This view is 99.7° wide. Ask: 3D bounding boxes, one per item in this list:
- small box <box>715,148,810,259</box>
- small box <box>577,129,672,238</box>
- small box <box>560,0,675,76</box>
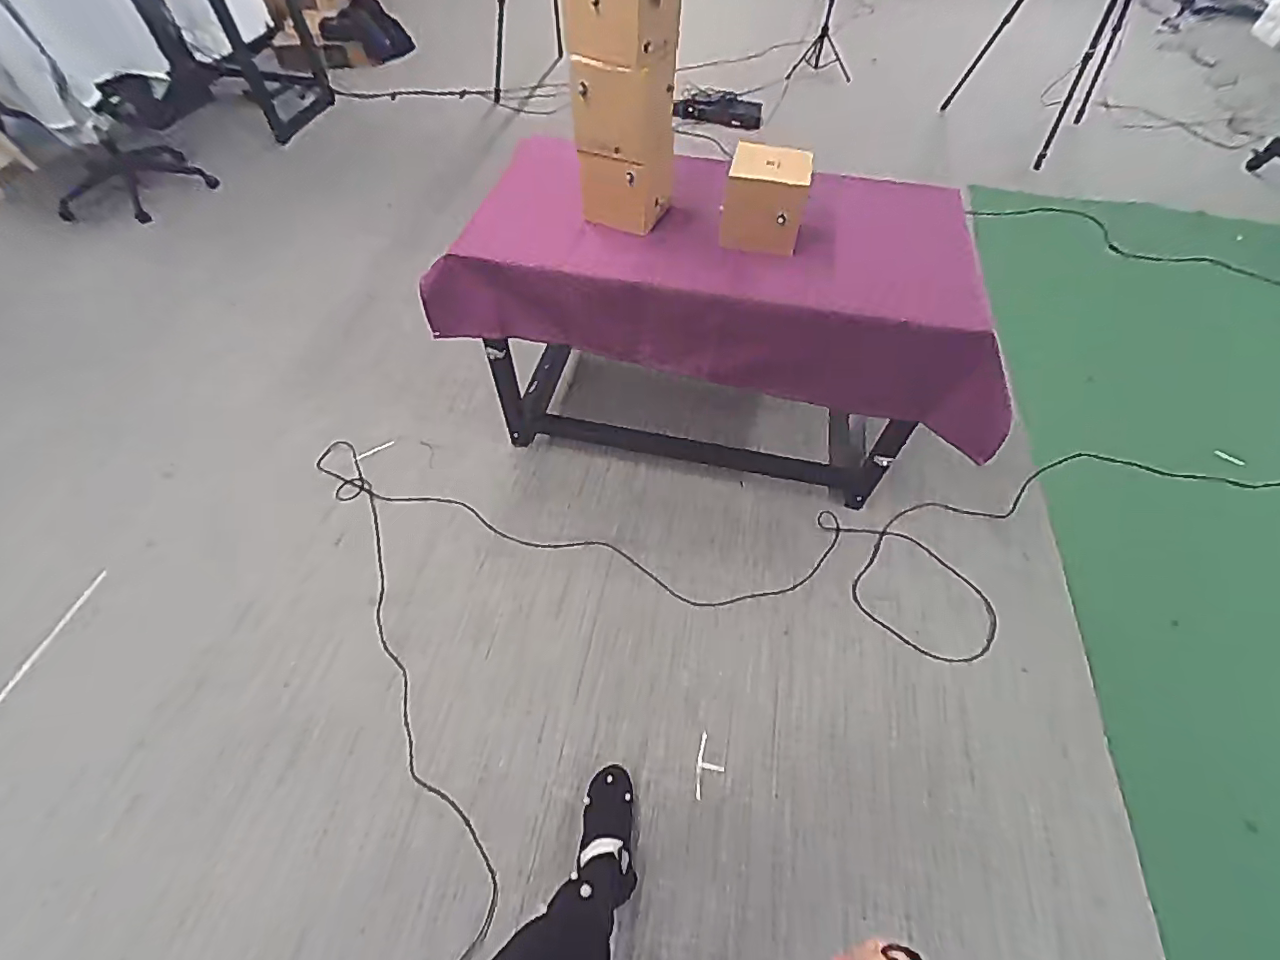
[{"bbox_3d":[0.285,-0.645,1.272,0.179,0.176,0.168,12,54,8],"label":"small box"},{"bbox_3d":[-0.037,-0.718,1.317,0.179,0.176,0.168,20,56,12],"label":"small box"},{"bbox_3d":[-0.039,-0.924,1.060,0.179,0.176,0.168,26,57,17],"label":"small box"}]
